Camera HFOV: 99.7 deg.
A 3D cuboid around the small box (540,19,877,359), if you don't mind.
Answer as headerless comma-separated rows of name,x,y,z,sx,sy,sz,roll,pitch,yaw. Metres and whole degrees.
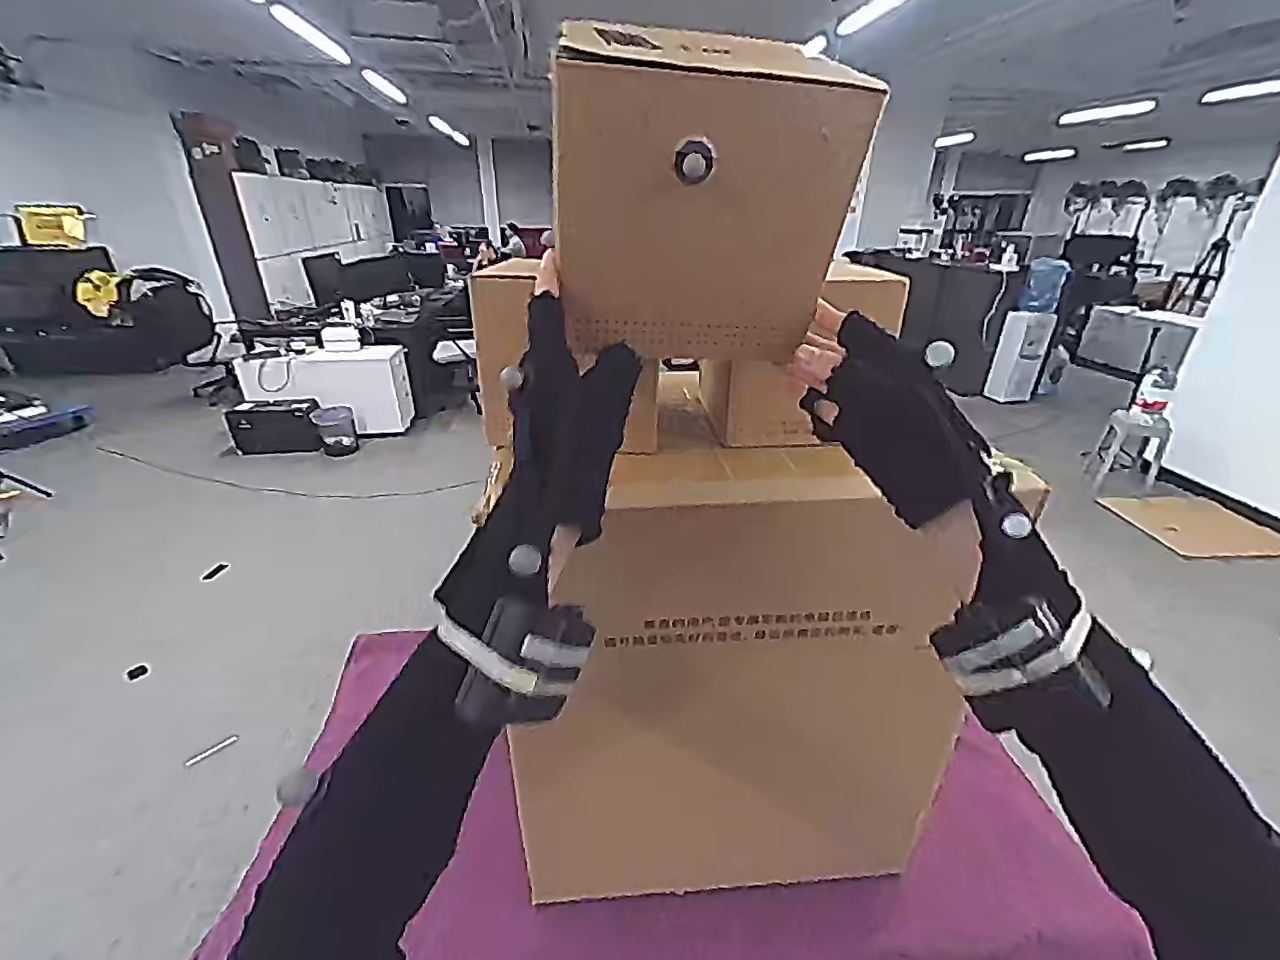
small box,0.025,-0.199,0.379,0.179,0.176,0.168,1,45,-8
